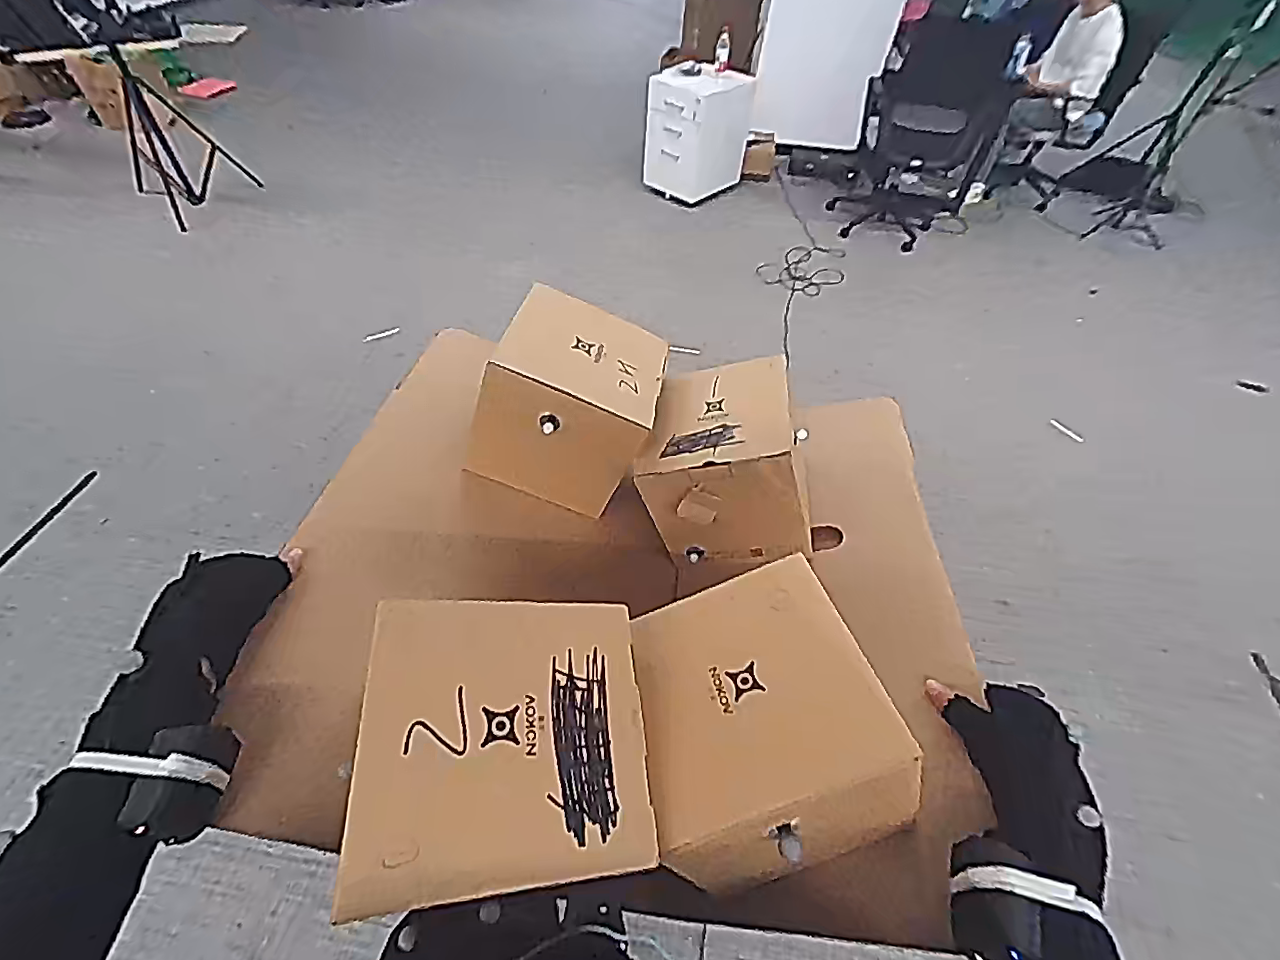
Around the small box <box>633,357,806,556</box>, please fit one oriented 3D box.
[{"bbox_3d":[0.107,-0.019,0.664,0.168,0.176,0.179,-8,42,20],"label":"small box"}]
